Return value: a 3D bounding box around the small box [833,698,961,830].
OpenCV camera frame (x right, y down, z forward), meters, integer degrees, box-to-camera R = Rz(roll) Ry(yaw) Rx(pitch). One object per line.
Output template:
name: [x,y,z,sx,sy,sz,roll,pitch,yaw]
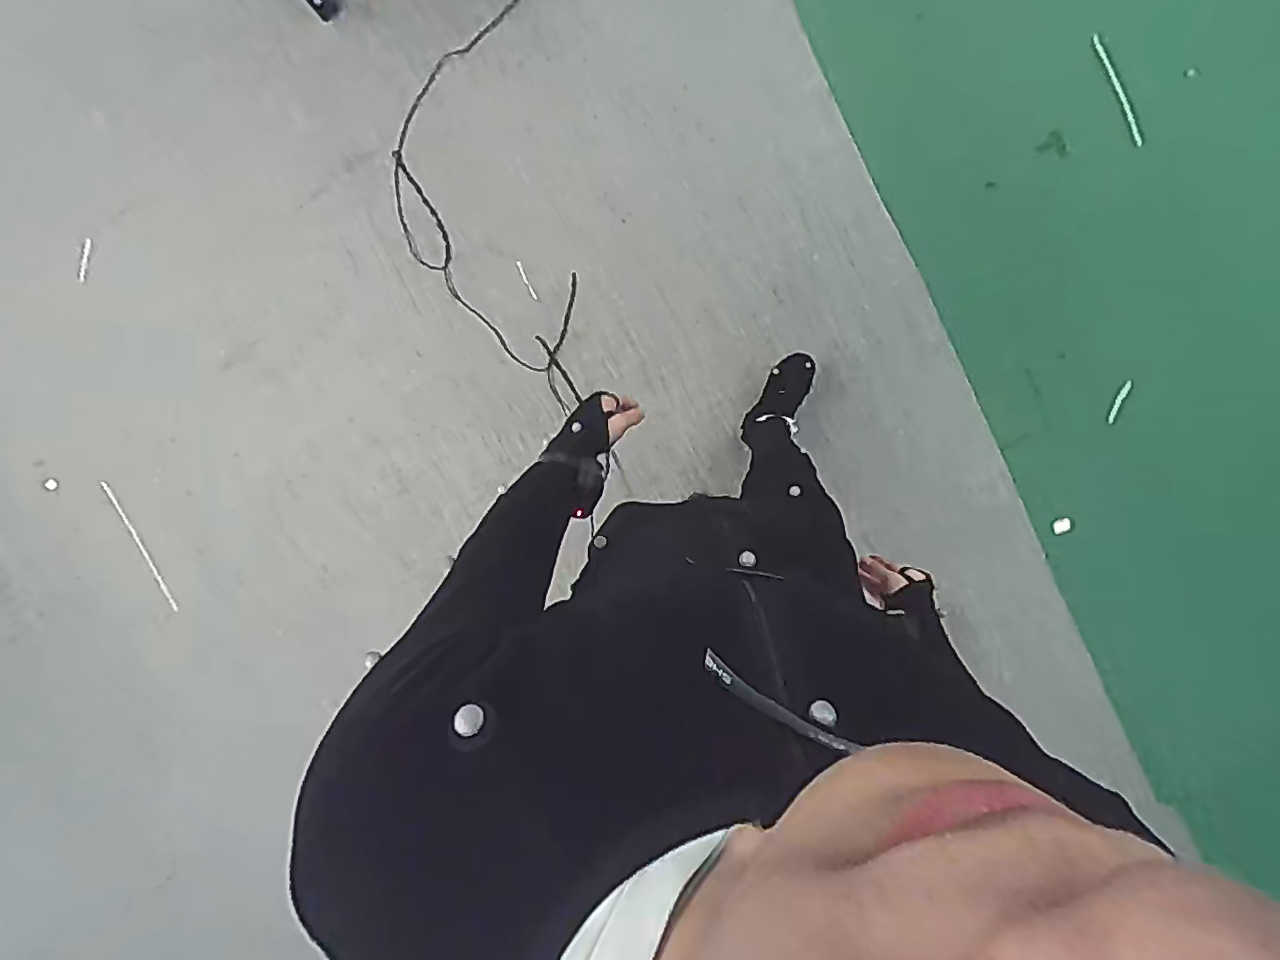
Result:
small box: [0.561,0.621,1.204,0.179,0.176,0.168,-27,92,6]
